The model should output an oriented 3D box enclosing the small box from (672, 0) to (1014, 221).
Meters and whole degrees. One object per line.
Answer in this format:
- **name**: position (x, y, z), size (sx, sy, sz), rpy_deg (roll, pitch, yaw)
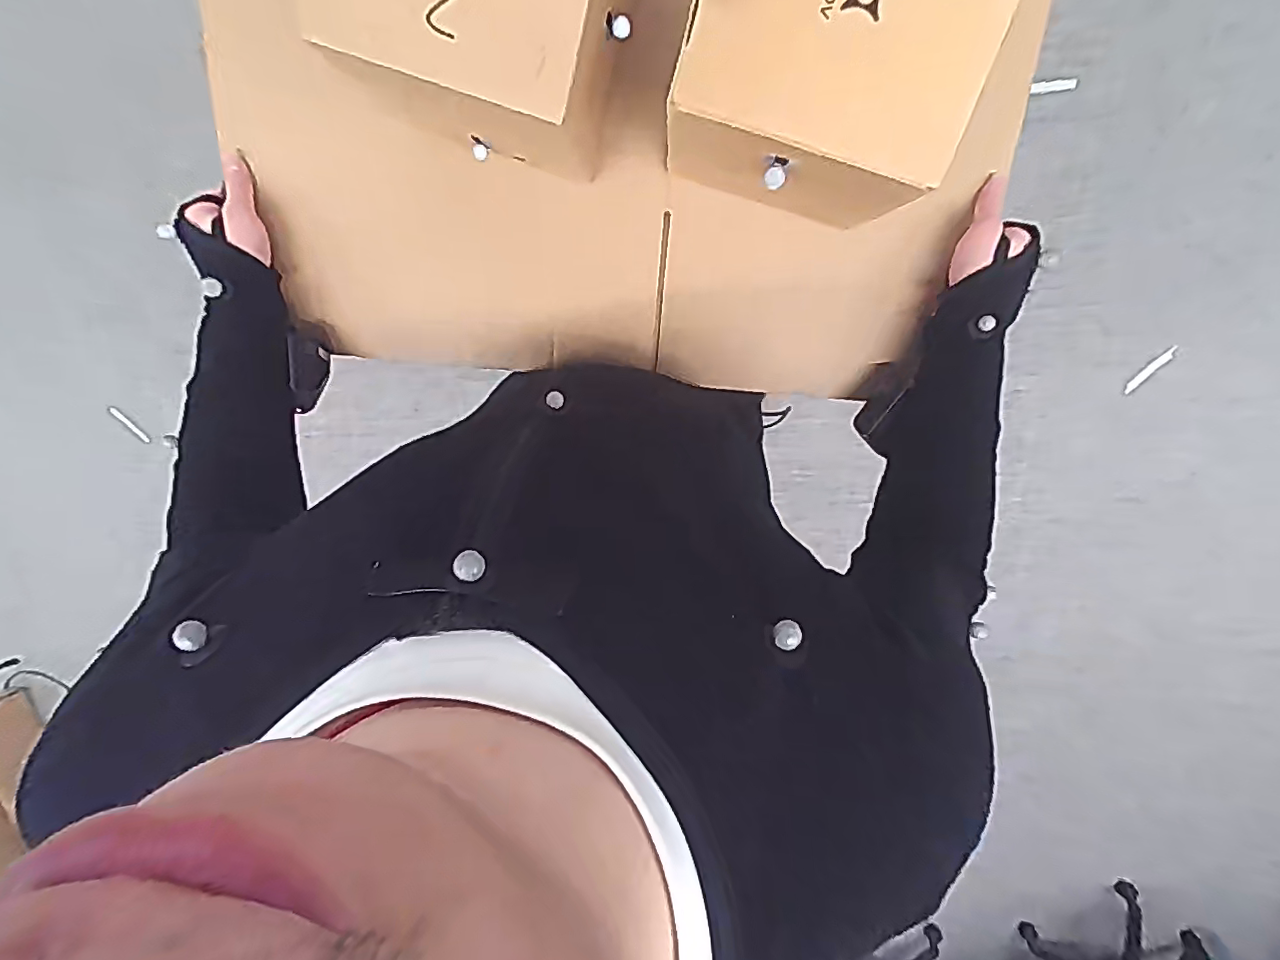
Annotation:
- **small box**: position (0.131, -0.304, 0.393), size (0.179, 0.176, 0.168), rpy_deg (18, 108, -2)
